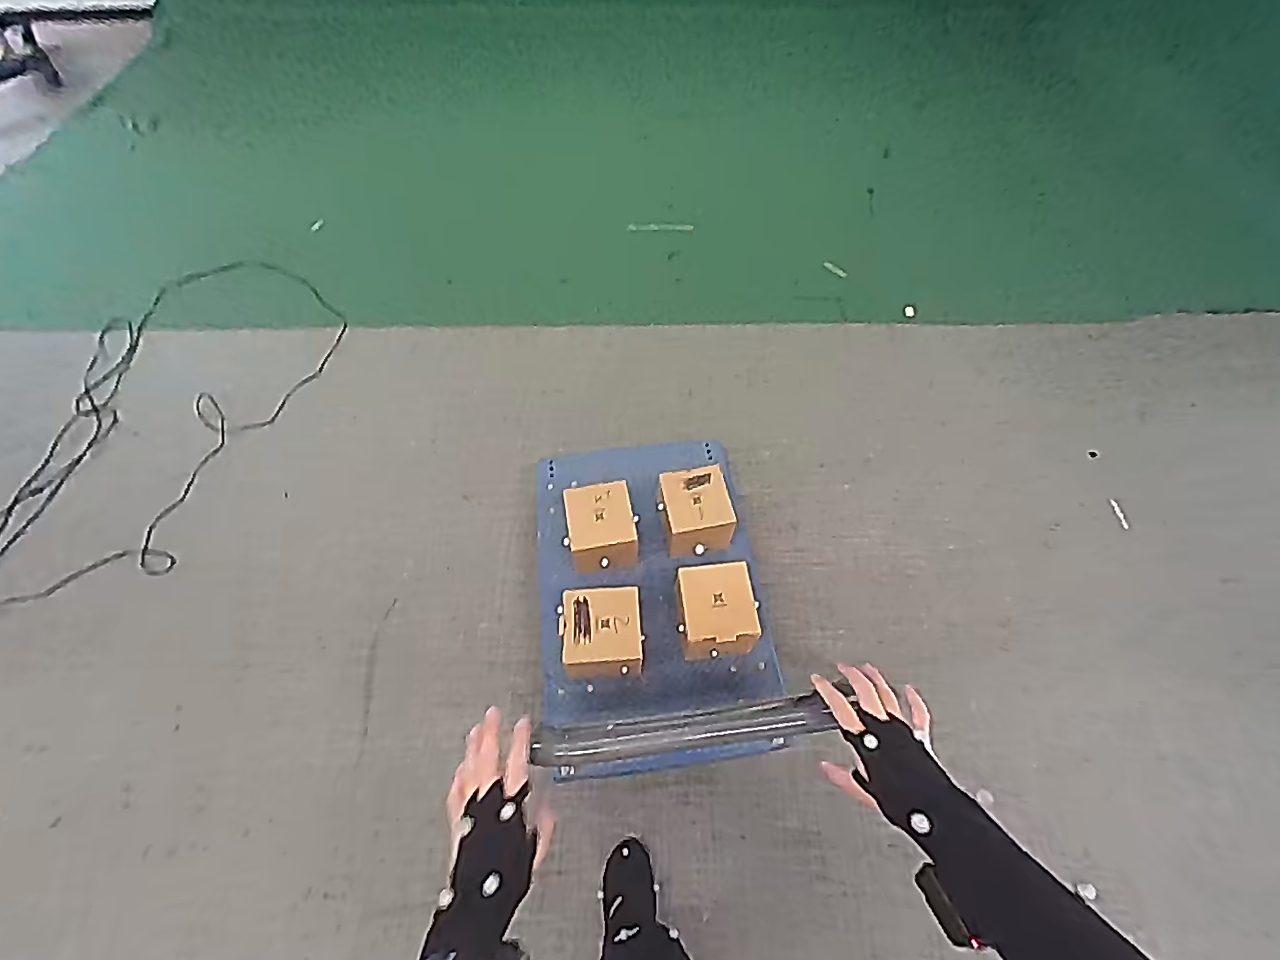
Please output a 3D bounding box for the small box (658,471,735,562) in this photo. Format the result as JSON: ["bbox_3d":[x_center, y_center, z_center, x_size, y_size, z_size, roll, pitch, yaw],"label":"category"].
[{"bbox_3d":[0.145,0.101,1.467,0.168,0.176,0.179,-10,60,-5],"label":"small box"}]

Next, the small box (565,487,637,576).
[{"bbox_3d":[-0.102,0.144,1.441,0.168,0.176,0.179,-9,59,-6],"label":"small box"}]

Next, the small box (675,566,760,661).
[{"bbox_3d":[0.181,0.330,1.327,0.168,0.176,0.179,-6,59,-4],"label":"small box"}]
